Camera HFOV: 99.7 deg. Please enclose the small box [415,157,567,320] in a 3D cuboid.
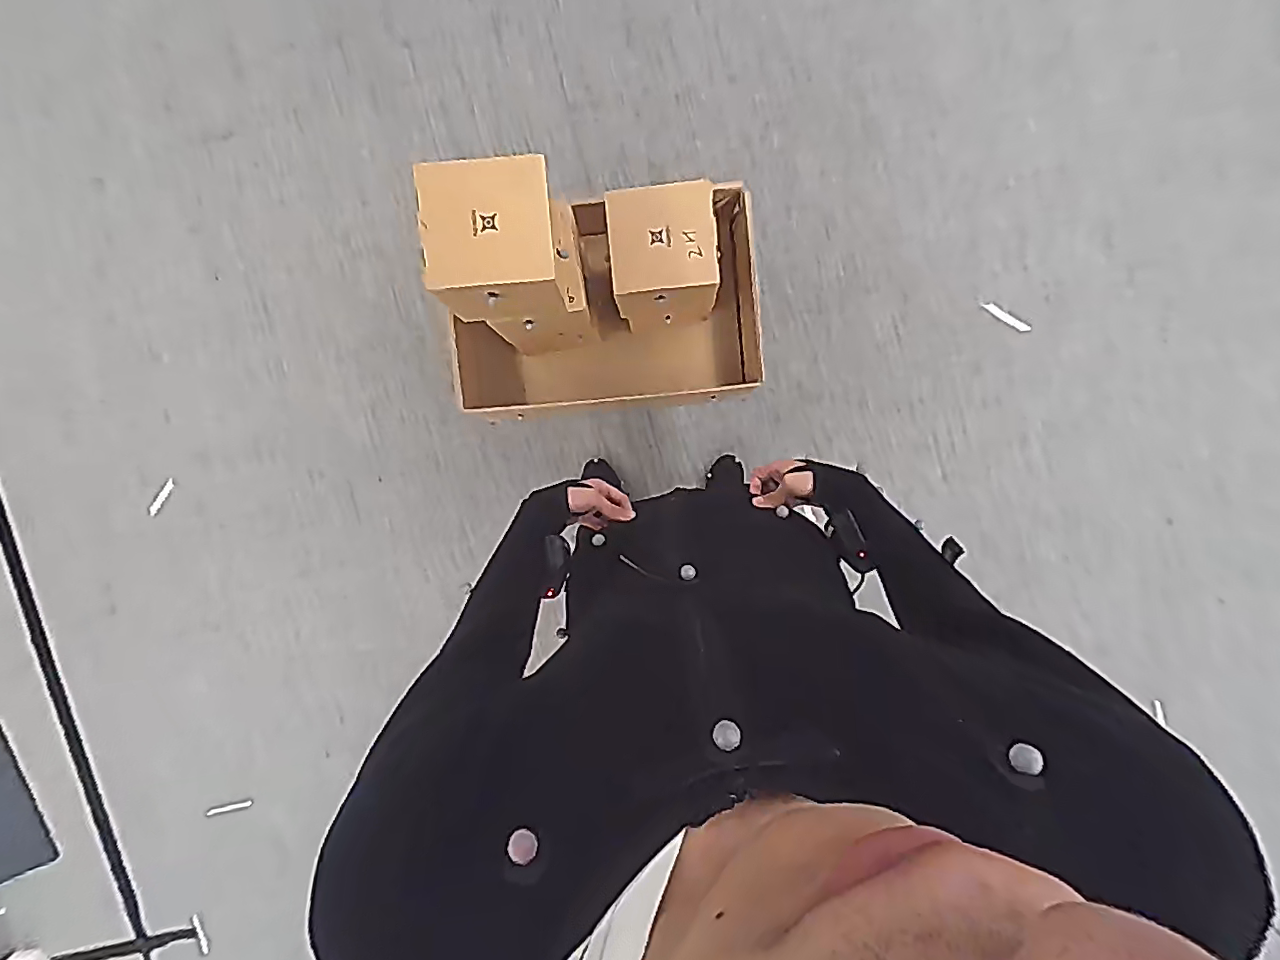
[{"bbox_3d":[-0.203,-0.340,0.791,0.179,0.176,0.168,-5,93,0],"label":"small box"}]
